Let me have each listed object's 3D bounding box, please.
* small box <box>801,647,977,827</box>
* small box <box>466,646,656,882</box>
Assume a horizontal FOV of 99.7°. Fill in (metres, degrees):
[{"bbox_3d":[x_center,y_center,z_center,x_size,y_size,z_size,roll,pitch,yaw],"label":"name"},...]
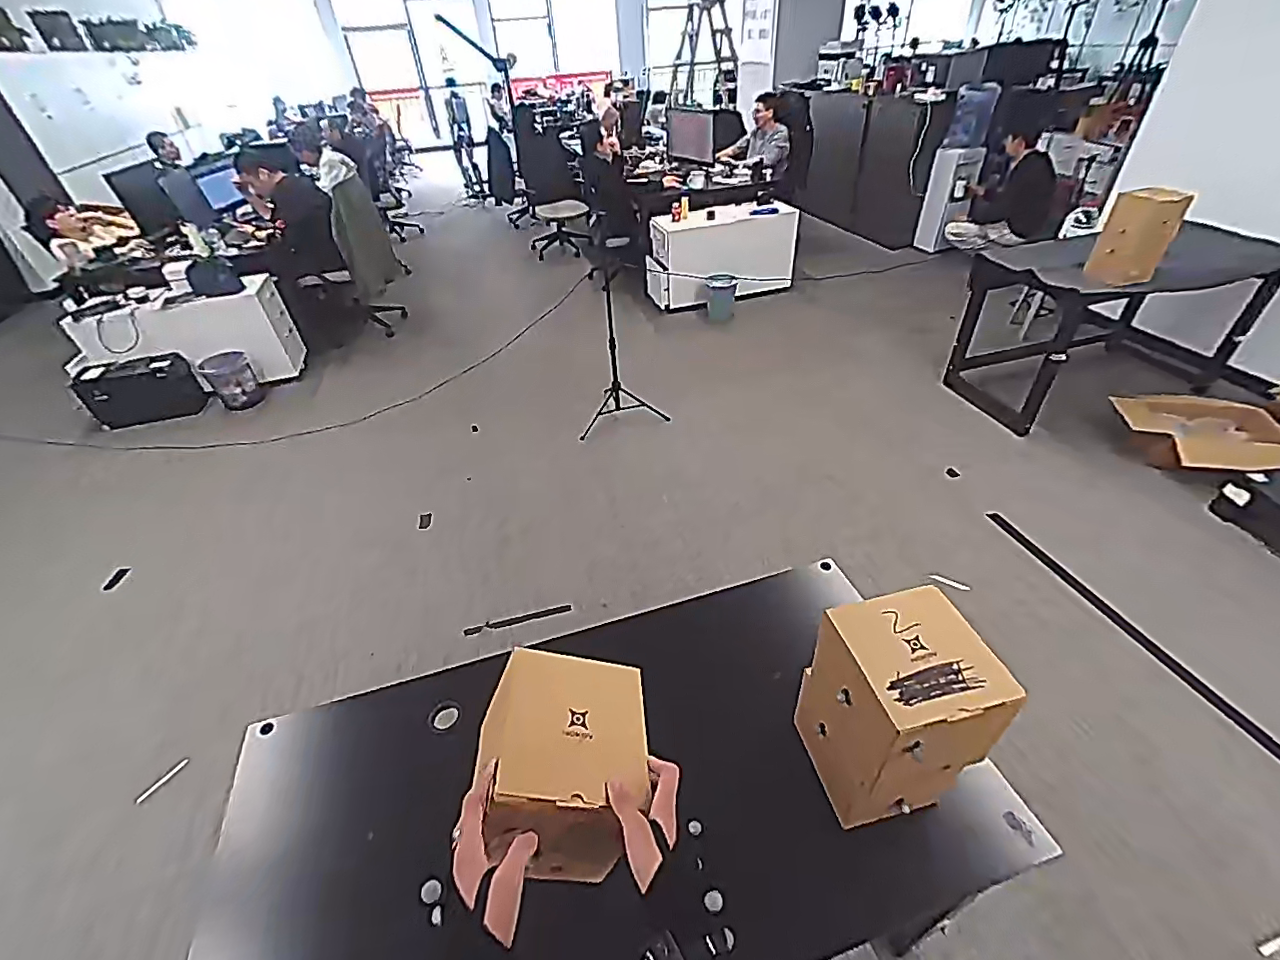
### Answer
[{"bbox_3d":[0.361,0.390,0.826,0.168,0.176,0.179,-11,40,-6],"label":"small box"},{"bbox_3d":[-0.095,0.330,0.632,0.168,0.176,0.179,15,32,-16],"label":"small box"}]
